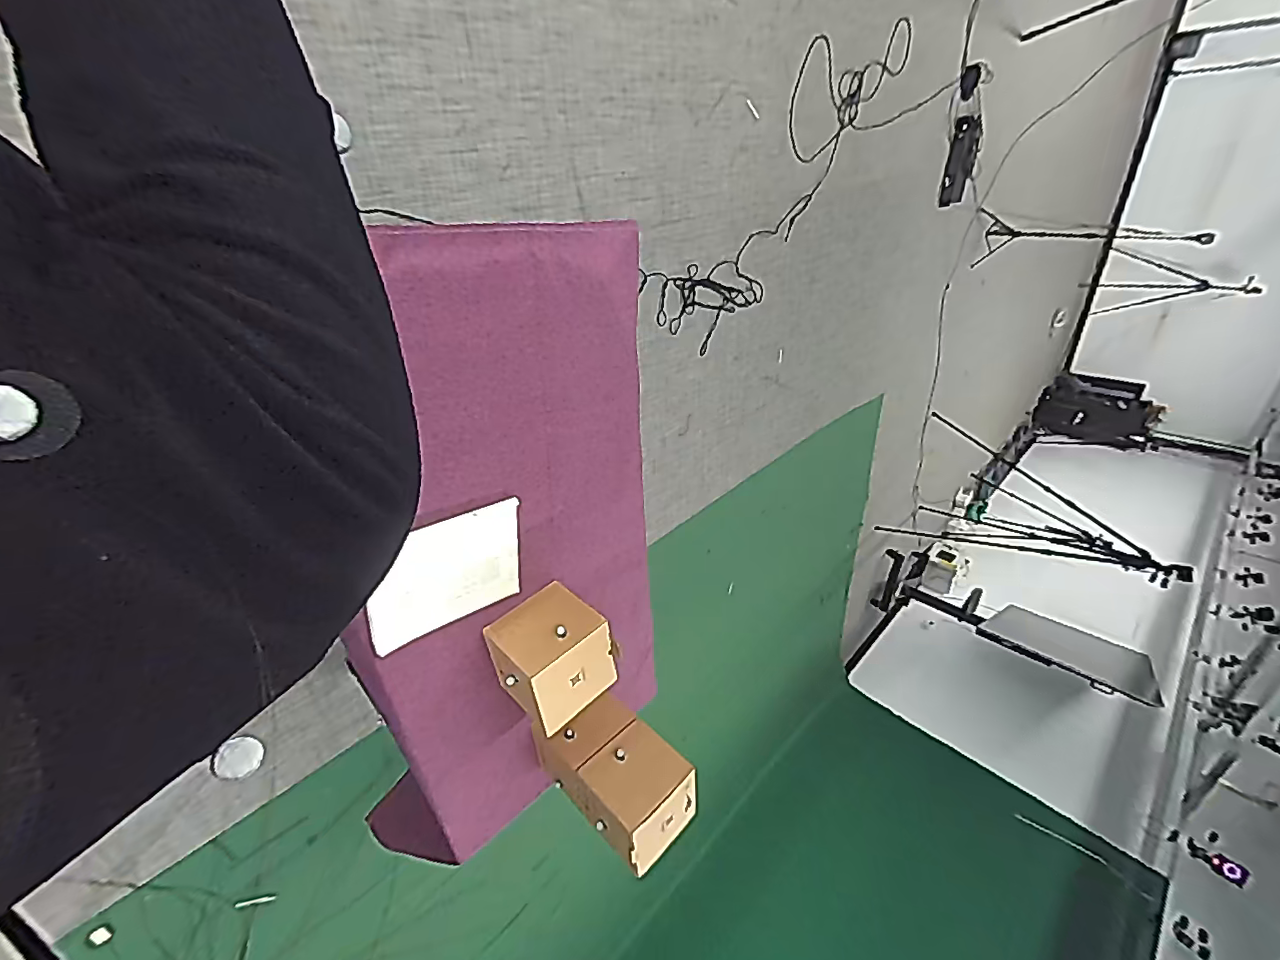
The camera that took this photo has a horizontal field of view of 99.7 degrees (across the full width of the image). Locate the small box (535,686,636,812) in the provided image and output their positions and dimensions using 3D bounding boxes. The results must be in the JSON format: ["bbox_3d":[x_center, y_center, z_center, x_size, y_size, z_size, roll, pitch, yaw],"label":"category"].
[{"bbox_3d":[-0.122,0.588,1.224,0.179,0.176,0.168,-28,128,-36],"label":"small box"}]

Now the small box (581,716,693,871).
[{"bbox_3d":[-0.009,0.636,1.115,0.179,0.176,0.168,-28,128,-35],"label":"small box"}]

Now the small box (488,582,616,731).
[{"bbox_3d":[-0.173,0.330,1.041,0.179,0.176,0.168,-31,129,-35],"label":"small box"}]
